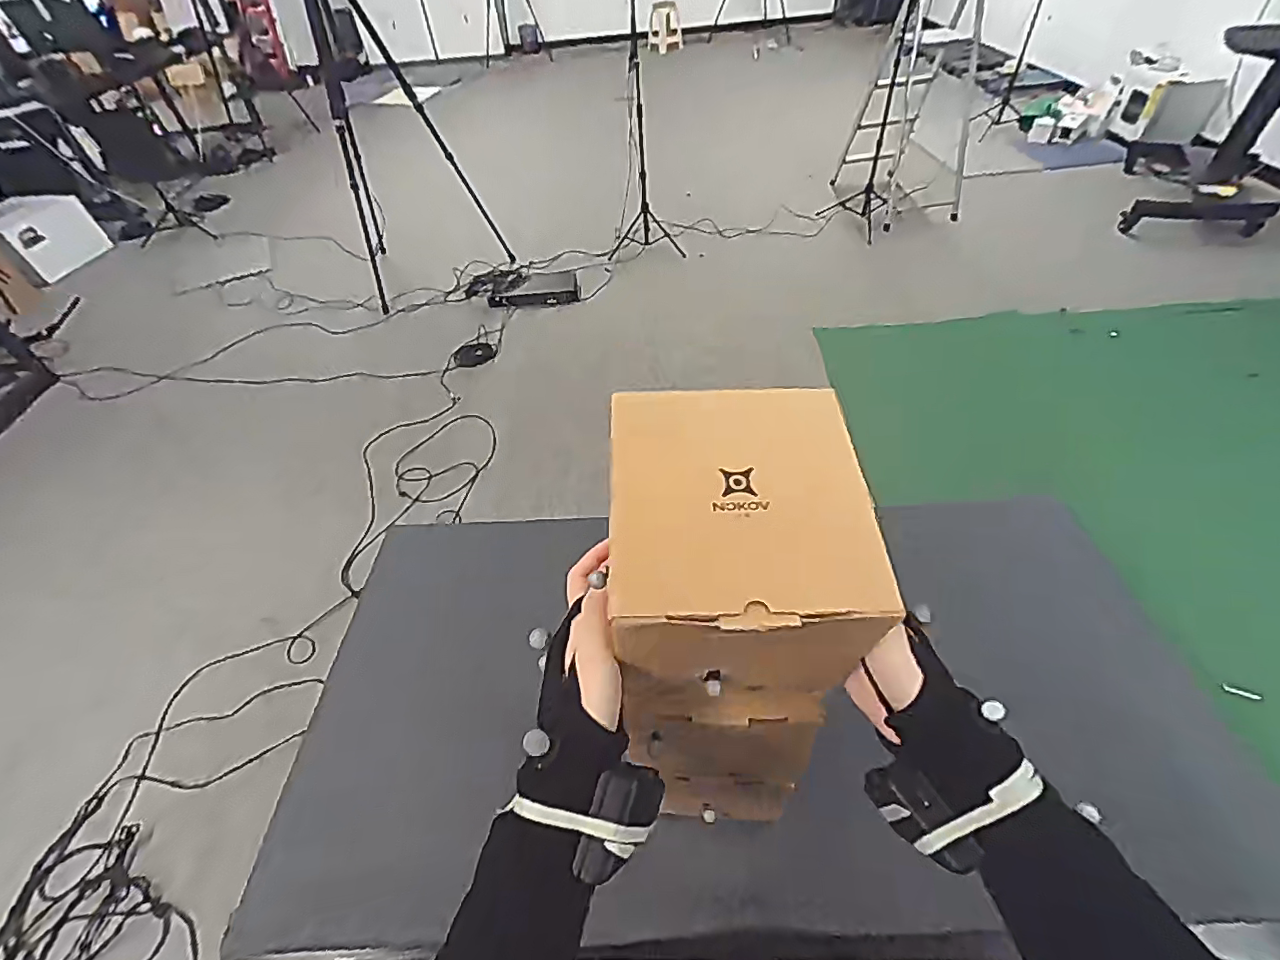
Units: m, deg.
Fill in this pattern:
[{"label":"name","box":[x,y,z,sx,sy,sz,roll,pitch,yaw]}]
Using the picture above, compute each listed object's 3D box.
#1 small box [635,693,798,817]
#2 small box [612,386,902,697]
[{"label":"small box","box":[0.088,0.283,0.654,0.168,0.176,0.179,1,48,7]},{"label":"small box","box":[0.064,0.050,0.415,0.168,0.176,0.179,-3,52,-1]}]
